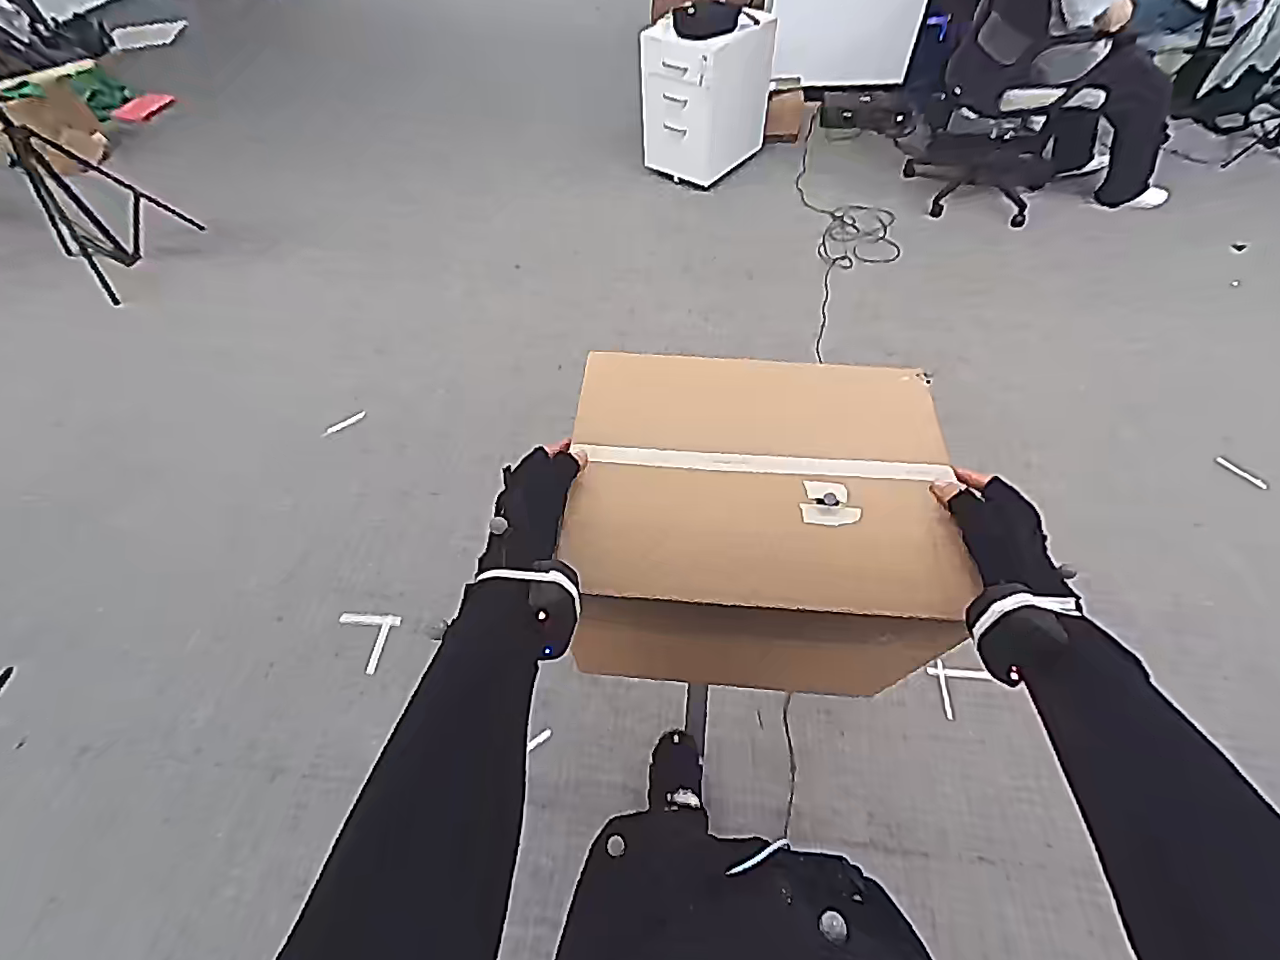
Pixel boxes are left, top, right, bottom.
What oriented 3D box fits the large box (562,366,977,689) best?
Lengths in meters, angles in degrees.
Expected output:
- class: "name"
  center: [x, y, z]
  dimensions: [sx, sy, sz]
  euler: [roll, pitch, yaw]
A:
- class: "large box"
  center: [0.128, 0.074, 0.718]
  dimensions: [0.408, 0.320, 0.320]
  euler: [4, 57, 2]
